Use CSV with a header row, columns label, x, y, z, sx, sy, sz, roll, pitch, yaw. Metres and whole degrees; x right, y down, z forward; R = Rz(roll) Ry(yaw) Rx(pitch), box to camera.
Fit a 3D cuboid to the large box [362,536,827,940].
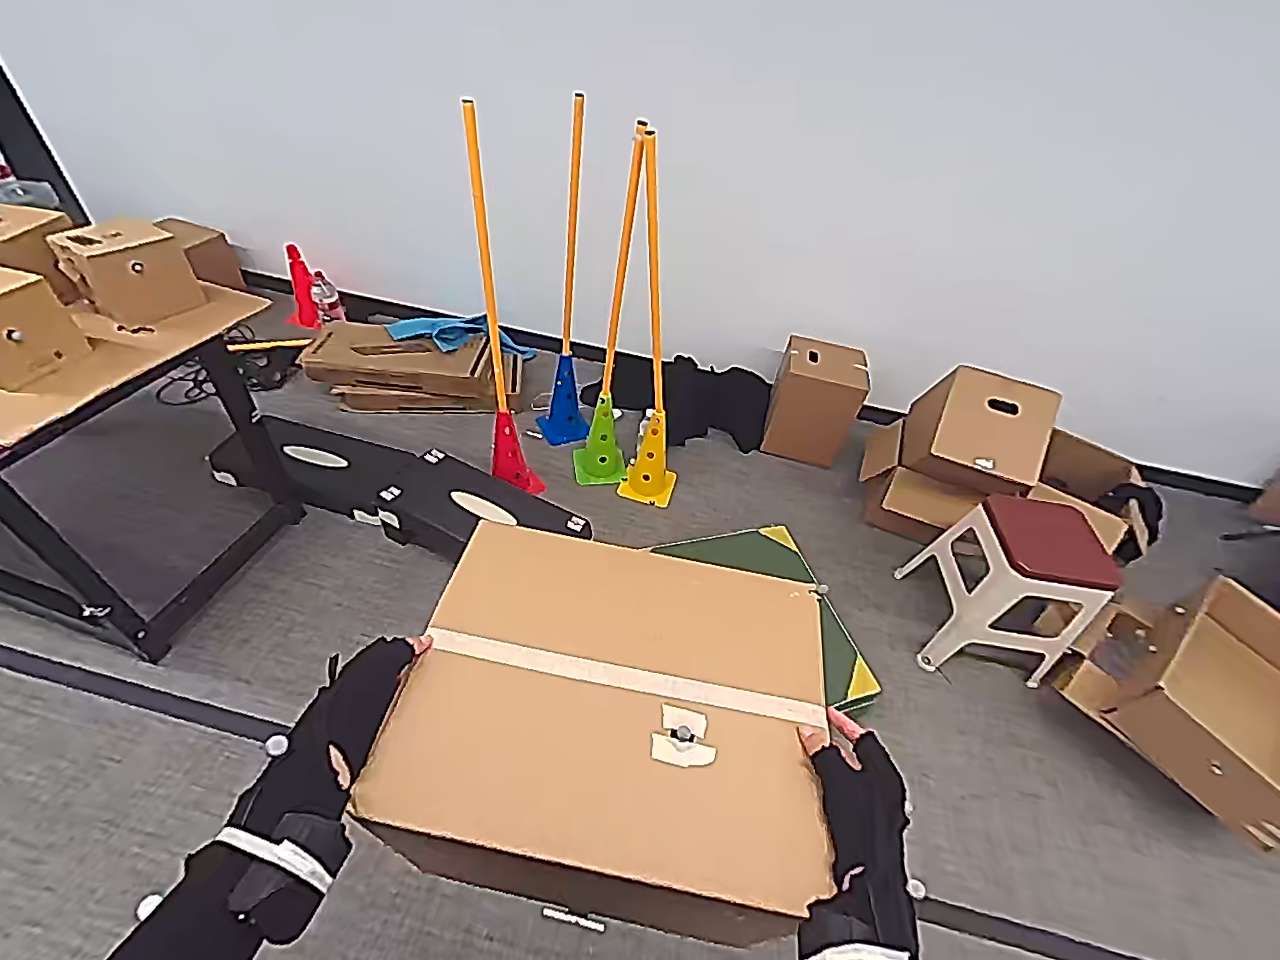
label,x,y,z,sx,sy,sz,roll,pitch,yaw
large box,-0.035,0.311,0.655,0.408,0.320,0.320,11,47,2
